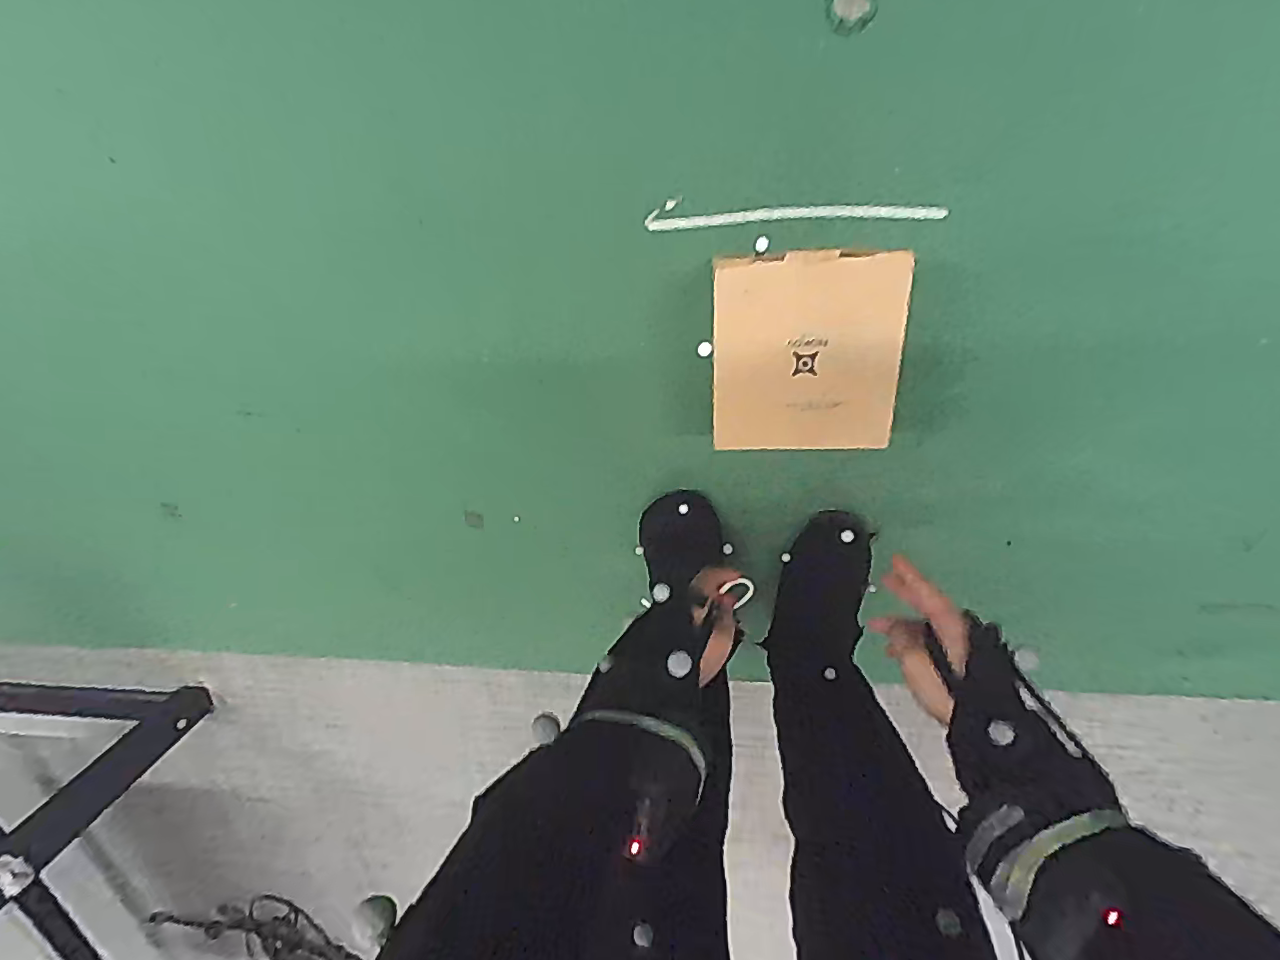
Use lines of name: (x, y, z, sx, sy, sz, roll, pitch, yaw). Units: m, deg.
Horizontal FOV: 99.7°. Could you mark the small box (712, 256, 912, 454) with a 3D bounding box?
small box: (0.160, -0.137, 0.565, 0.168, 0.176, 0.179, 0, 114, 8)
